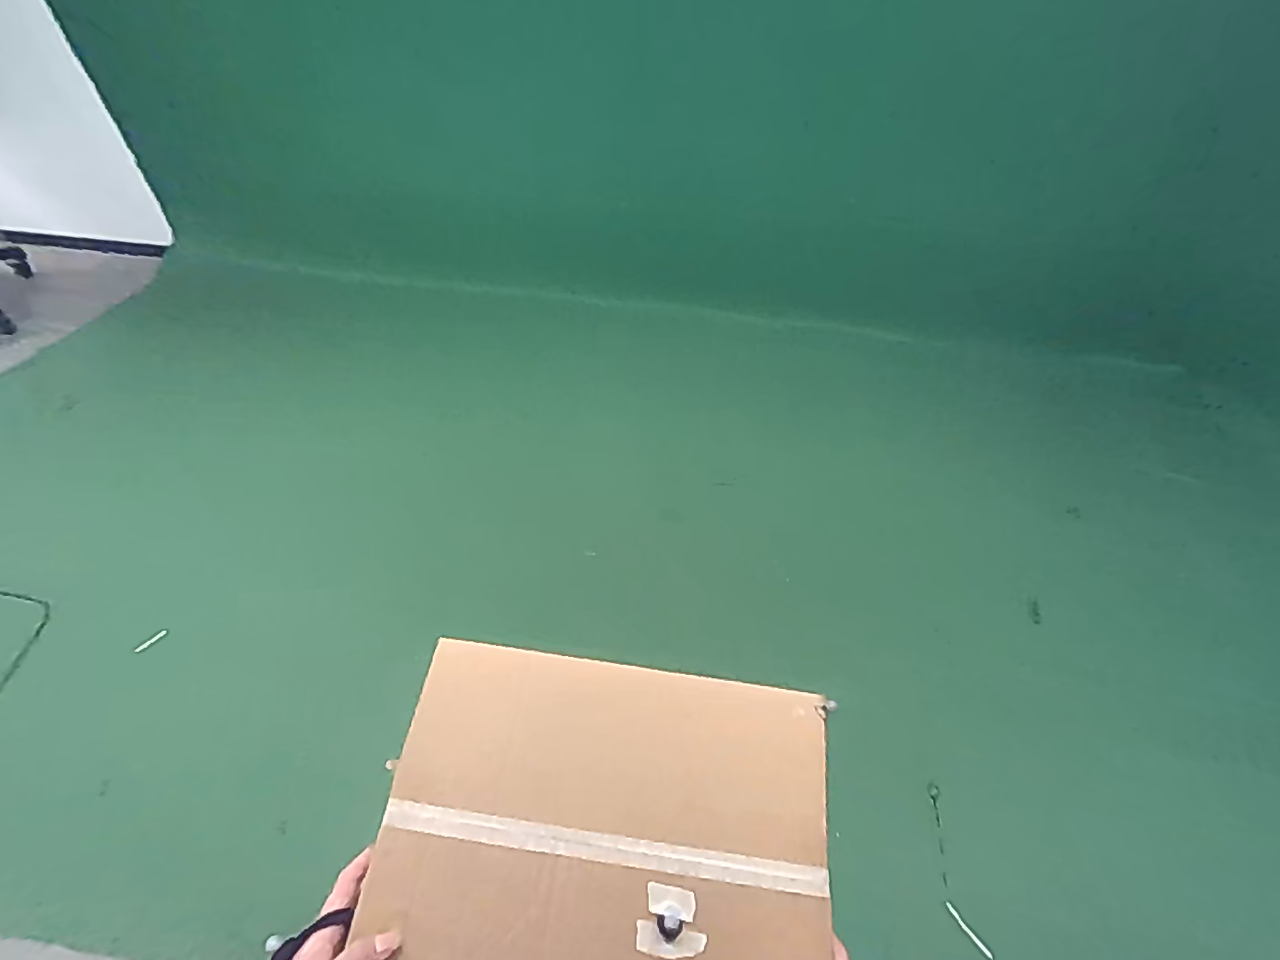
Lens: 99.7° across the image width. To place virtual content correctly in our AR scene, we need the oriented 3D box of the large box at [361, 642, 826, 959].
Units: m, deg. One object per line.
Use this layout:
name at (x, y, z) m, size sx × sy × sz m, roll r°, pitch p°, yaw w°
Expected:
large box at (-0.033, 0.398, 0.636) m, size 0.408 × 0.320 × 0.320 m, roll 7°, pitch 63°, yaw 2°
